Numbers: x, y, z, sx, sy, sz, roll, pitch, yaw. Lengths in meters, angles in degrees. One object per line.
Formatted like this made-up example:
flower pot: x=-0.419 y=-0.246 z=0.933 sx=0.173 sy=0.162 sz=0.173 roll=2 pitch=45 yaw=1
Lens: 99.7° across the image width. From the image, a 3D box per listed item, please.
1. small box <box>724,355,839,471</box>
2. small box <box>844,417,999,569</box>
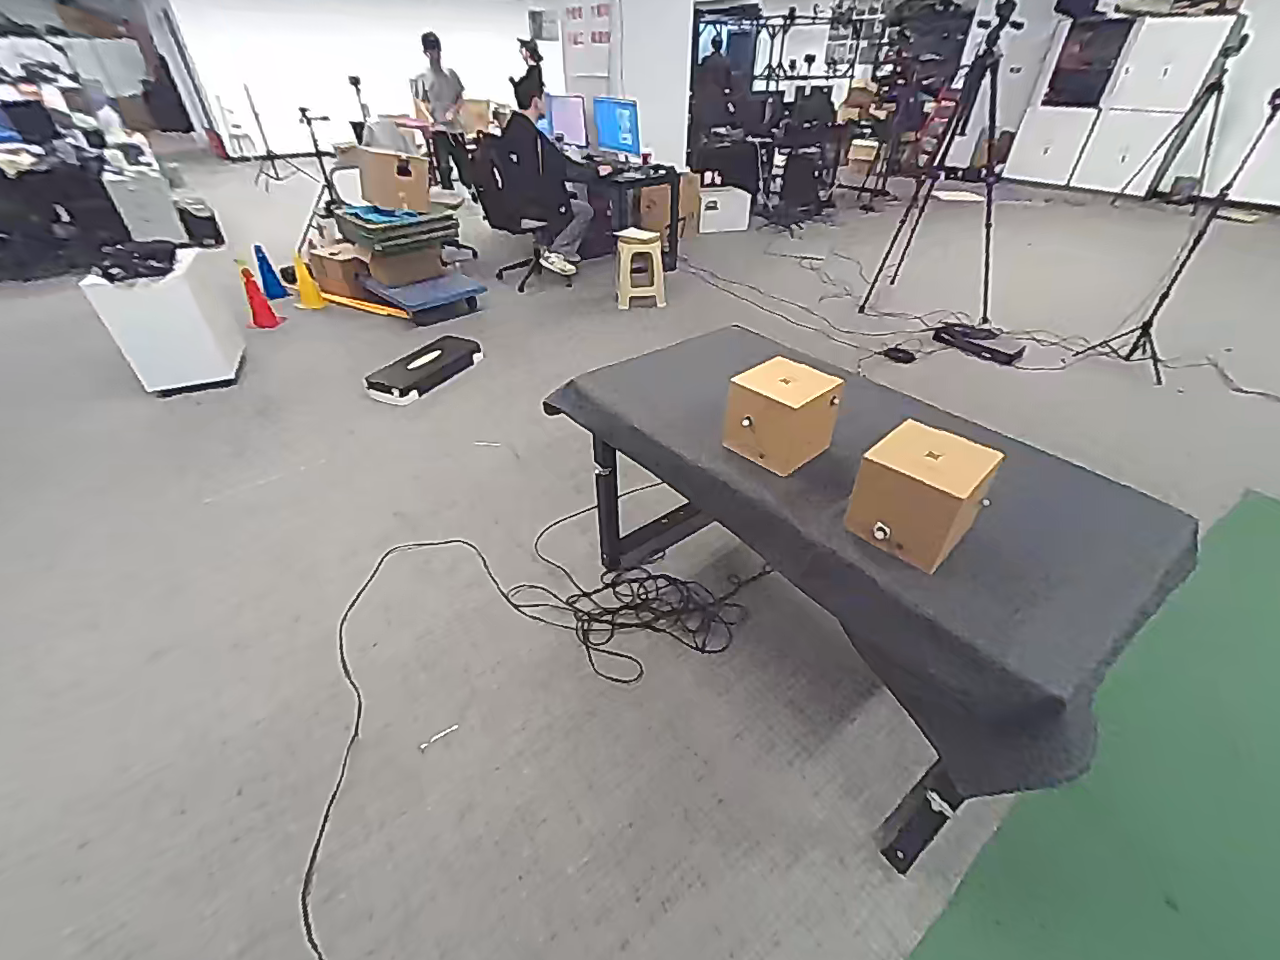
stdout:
small box: x=0.294 y=-0.143 z=1.154 sx=0.179 sy=0.176 sz=0.168 roll=-29 pitch=46 yaw=-34
small box: x=0.481 y=0.020 z=0.944 sx=0.168 sy=0.176 sz=0.179 roll=31 pitch=47 yaw=35
